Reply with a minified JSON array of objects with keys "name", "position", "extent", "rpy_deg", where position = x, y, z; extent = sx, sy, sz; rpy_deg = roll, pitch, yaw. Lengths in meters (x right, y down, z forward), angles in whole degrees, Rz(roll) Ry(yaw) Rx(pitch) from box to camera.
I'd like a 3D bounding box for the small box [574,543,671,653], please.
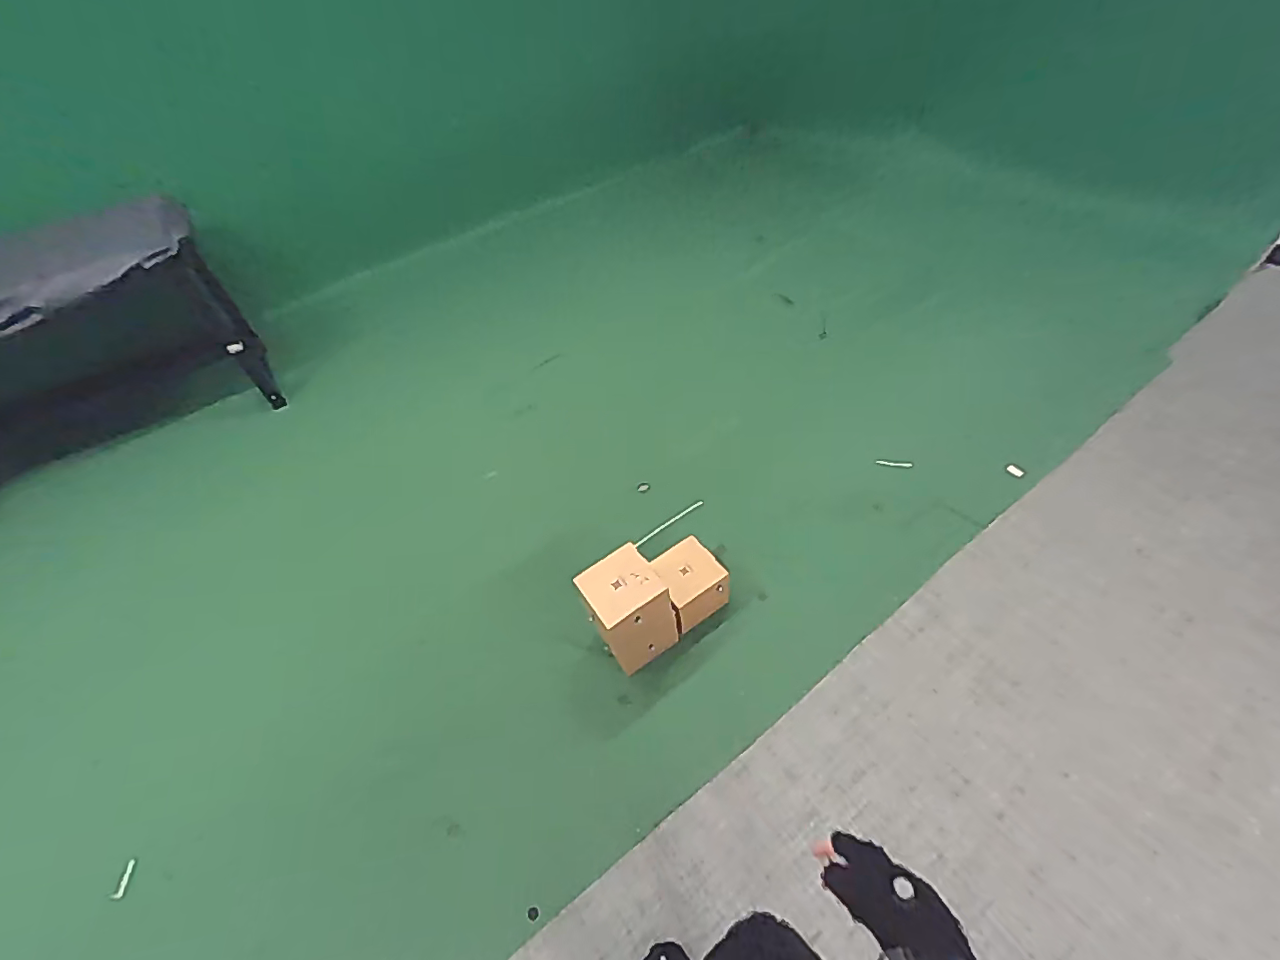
[{"name":"small box","position":[-0.038,0.300,1.356],"extent":[0.179,0.176,0.168],"rpy_deg":[-31,54,-17]}]
